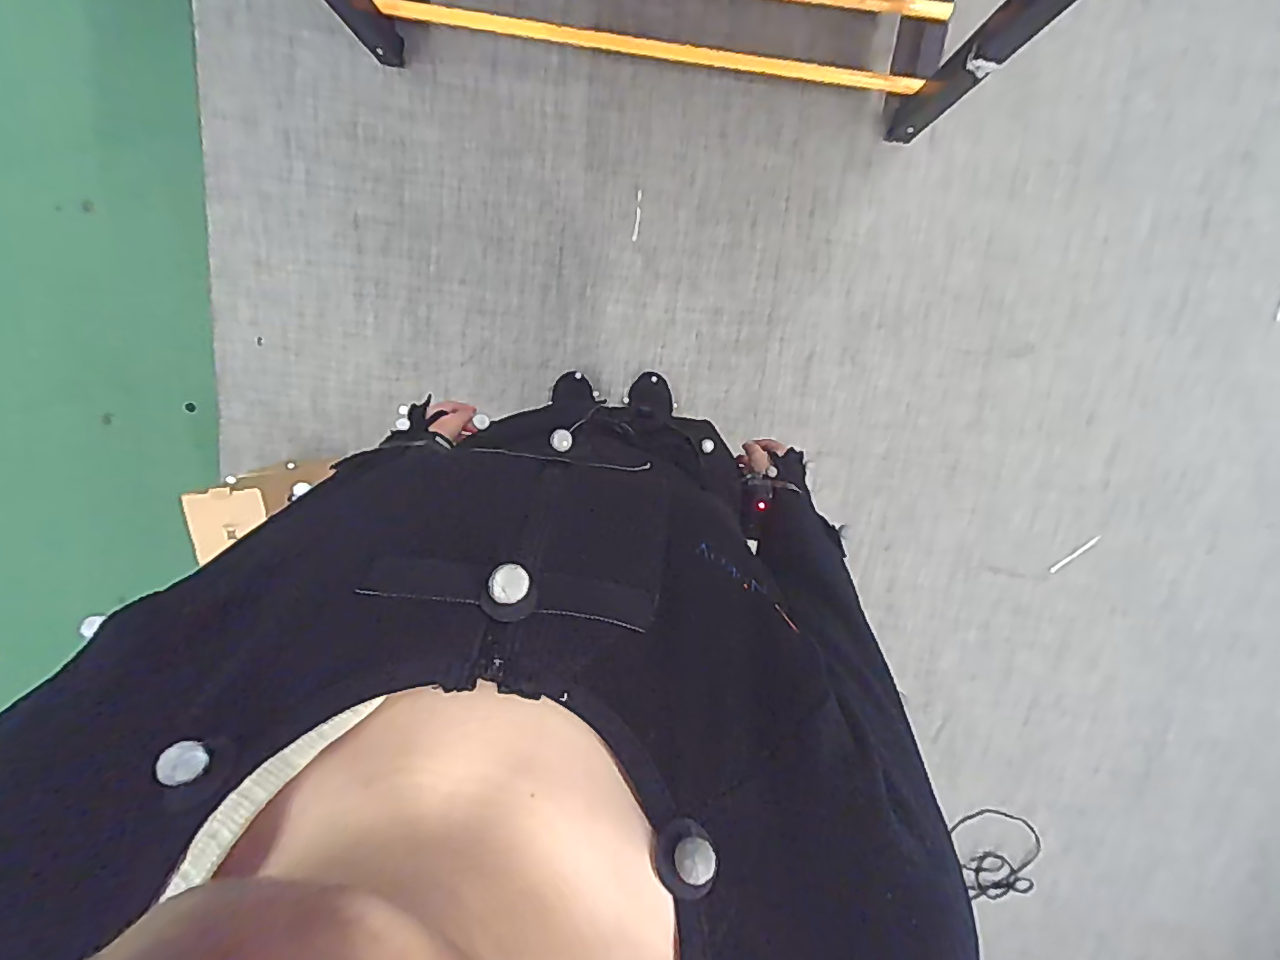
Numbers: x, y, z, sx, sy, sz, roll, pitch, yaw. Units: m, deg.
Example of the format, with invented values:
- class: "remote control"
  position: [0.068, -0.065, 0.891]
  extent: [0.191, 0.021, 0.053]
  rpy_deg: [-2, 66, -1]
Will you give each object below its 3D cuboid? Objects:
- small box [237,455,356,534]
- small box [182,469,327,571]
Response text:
- class: "small box"
  position: [-0.813, 0.035, 1.306]
  extent: [0.179, 0.176, 0.168]
  rpy_deg: [-3, 102, 2]
- class: "small box"
  position: [-0.806, 0.077, 1.149]
  extent: [0.168, 0.176, 0.179]
  rpy_deg: [-5, 103, 3]
